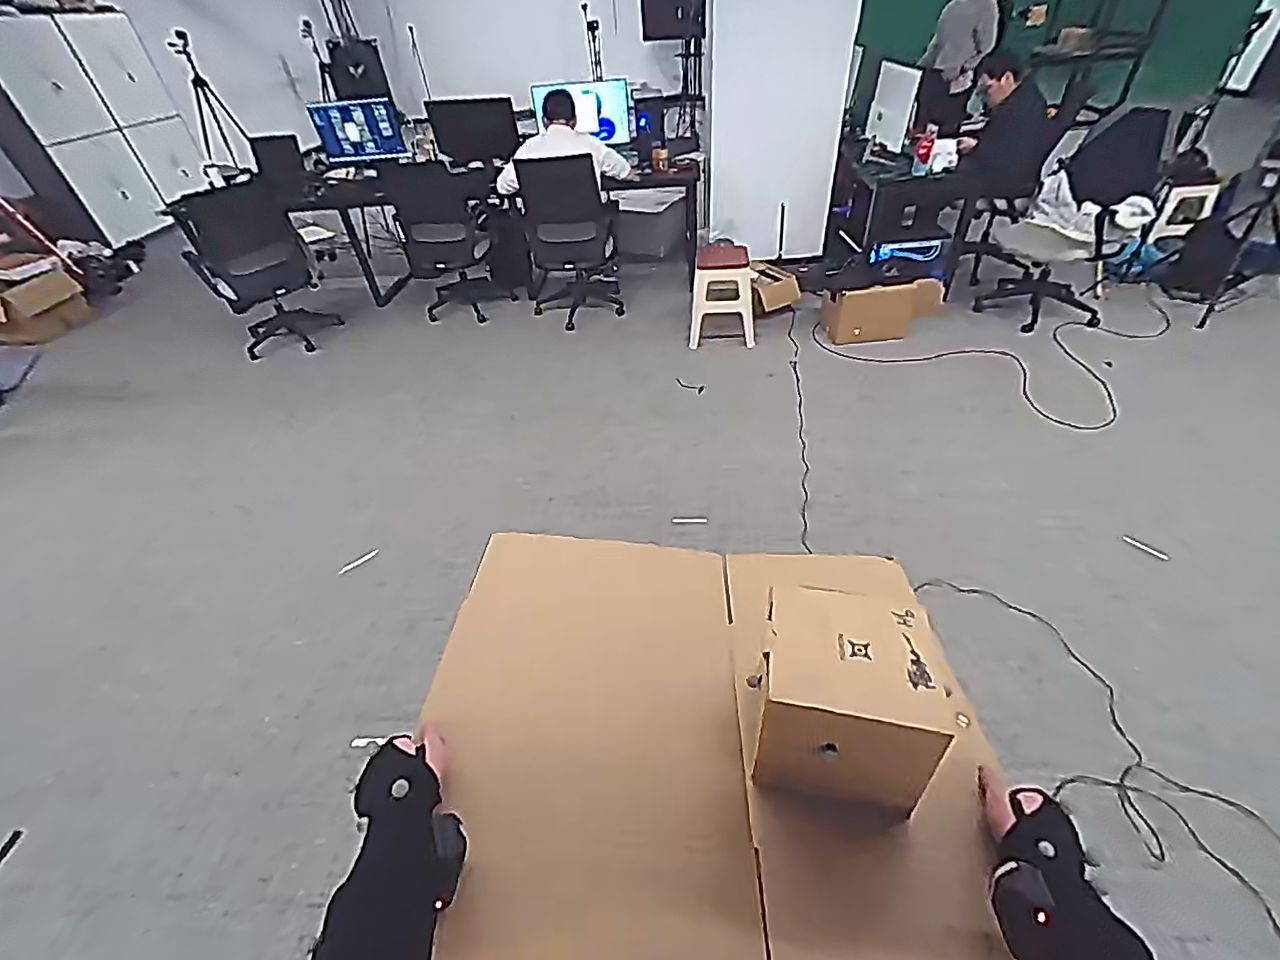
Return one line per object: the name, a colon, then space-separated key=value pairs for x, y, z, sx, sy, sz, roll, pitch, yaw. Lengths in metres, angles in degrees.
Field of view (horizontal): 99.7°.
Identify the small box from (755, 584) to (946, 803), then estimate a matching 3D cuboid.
small box: x=0.232 y=0.249 z=0.640 sx=0.179 sy=0.176 sz=0.168 roll=5 pitch=37 yaw=13
